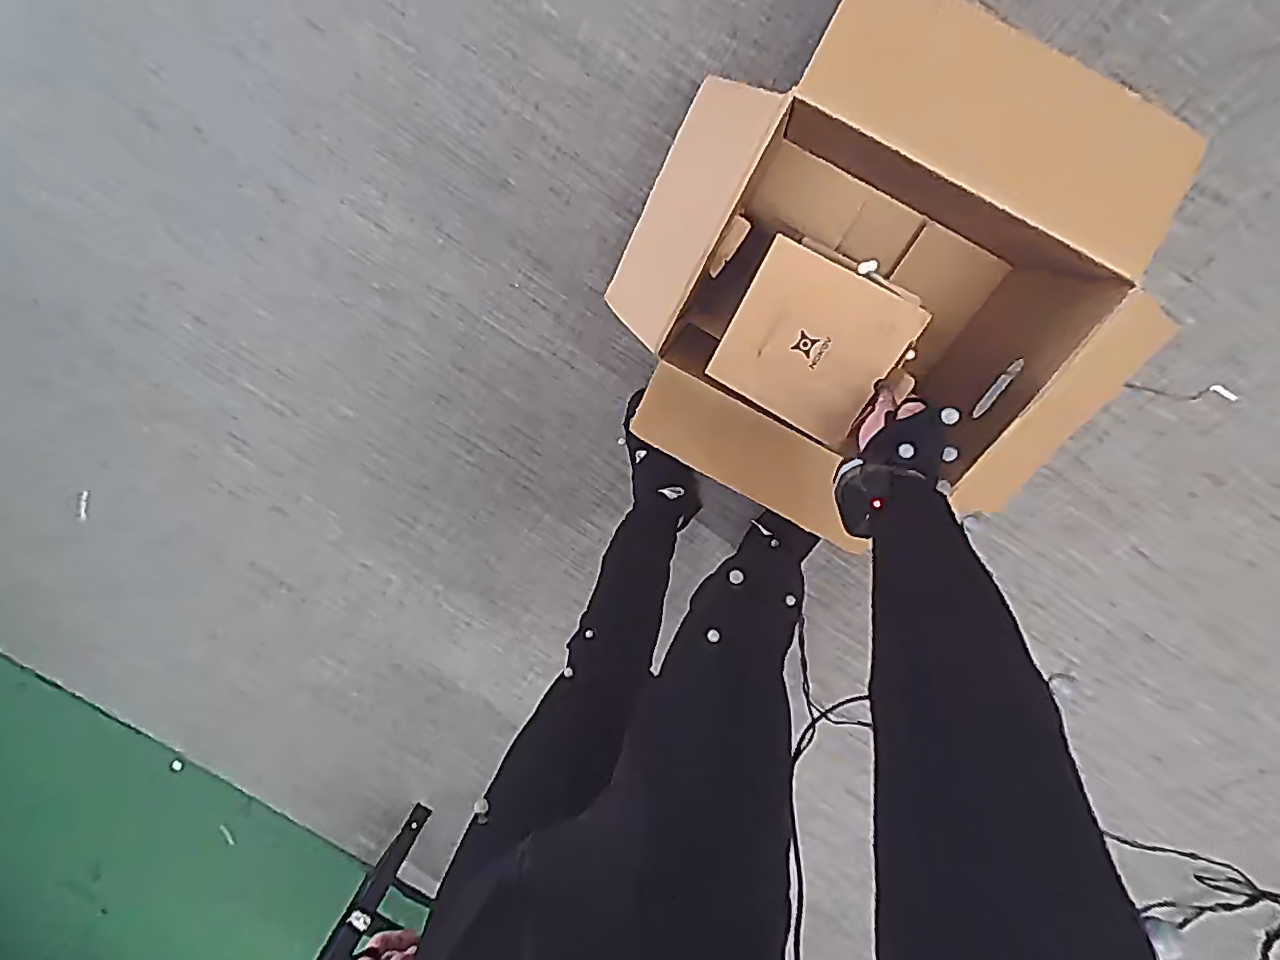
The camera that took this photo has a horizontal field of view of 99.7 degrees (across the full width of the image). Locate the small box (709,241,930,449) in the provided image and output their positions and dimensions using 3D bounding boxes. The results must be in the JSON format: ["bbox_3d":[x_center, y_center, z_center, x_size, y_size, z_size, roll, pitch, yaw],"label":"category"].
[{"bbox_3d":[0.216,-0.164,0.654,0.179,0.176,0.168,34,115,13],"label":"small box"}]
